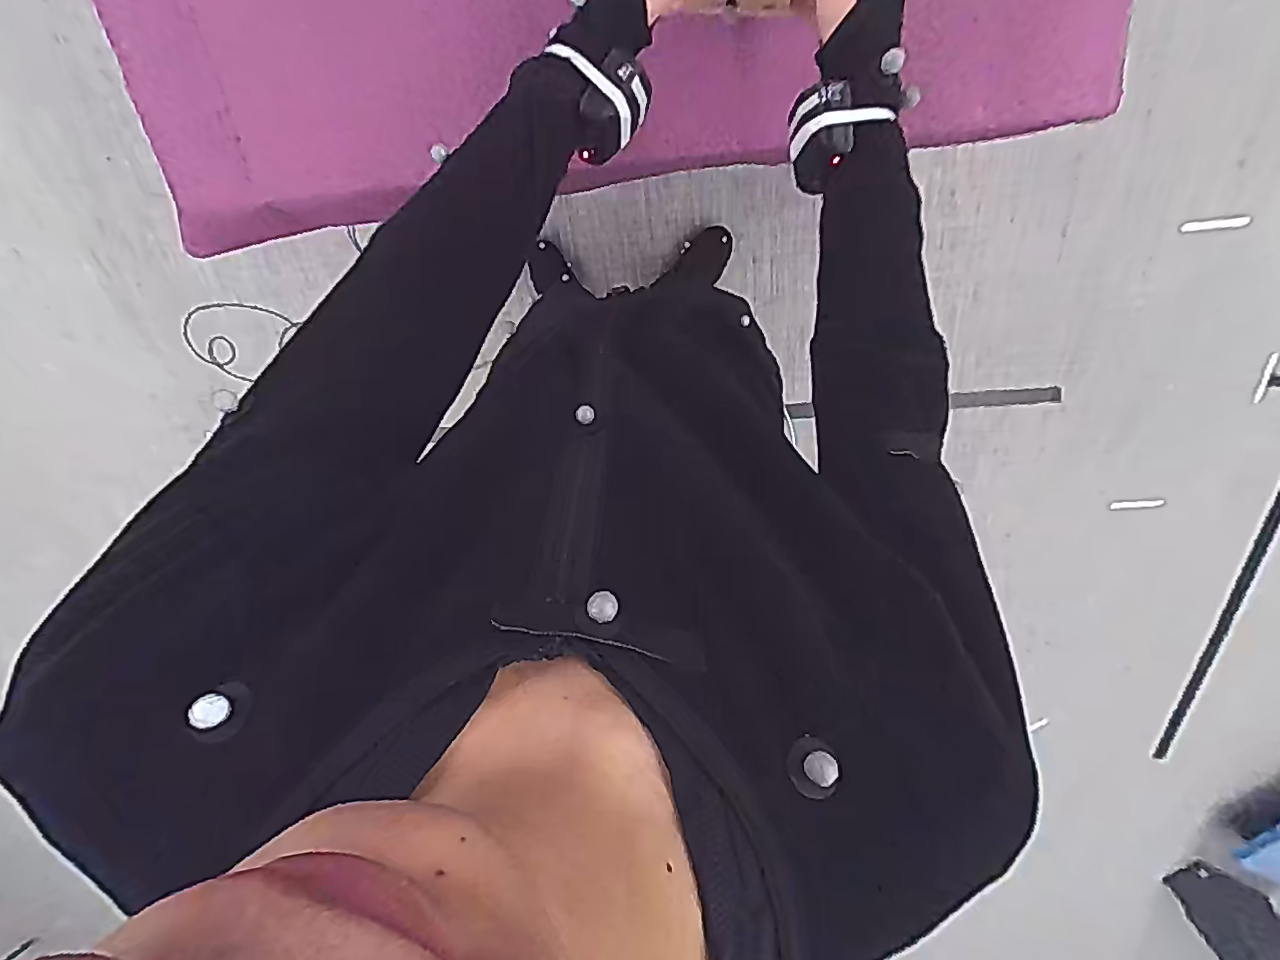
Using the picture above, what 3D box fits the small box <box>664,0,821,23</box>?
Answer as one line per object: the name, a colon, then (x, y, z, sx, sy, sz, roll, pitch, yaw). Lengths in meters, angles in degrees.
small box: (0.096, -0.530, 0.459, 0.168, 0.176, 0.179, 7, 116, 6)
